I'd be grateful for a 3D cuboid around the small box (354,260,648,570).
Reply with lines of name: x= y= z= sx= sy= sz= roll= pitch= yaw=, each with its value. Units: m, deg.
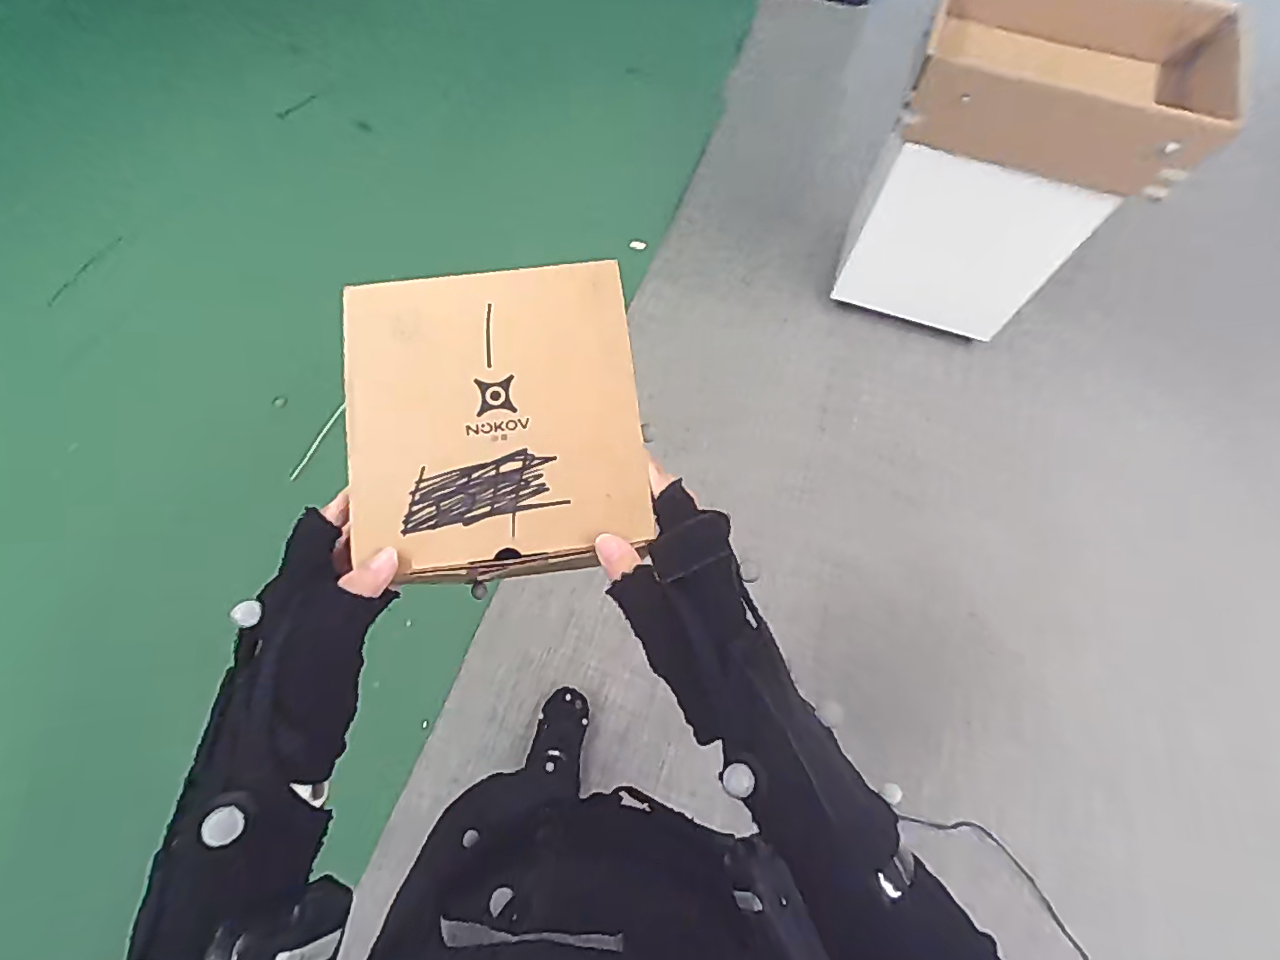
small box: x=-0.084 y=-0.029 z=0.393 sx=0.168 sy=0.176 sz=0.179 roll=-6 pitch=78 yaw=-3
